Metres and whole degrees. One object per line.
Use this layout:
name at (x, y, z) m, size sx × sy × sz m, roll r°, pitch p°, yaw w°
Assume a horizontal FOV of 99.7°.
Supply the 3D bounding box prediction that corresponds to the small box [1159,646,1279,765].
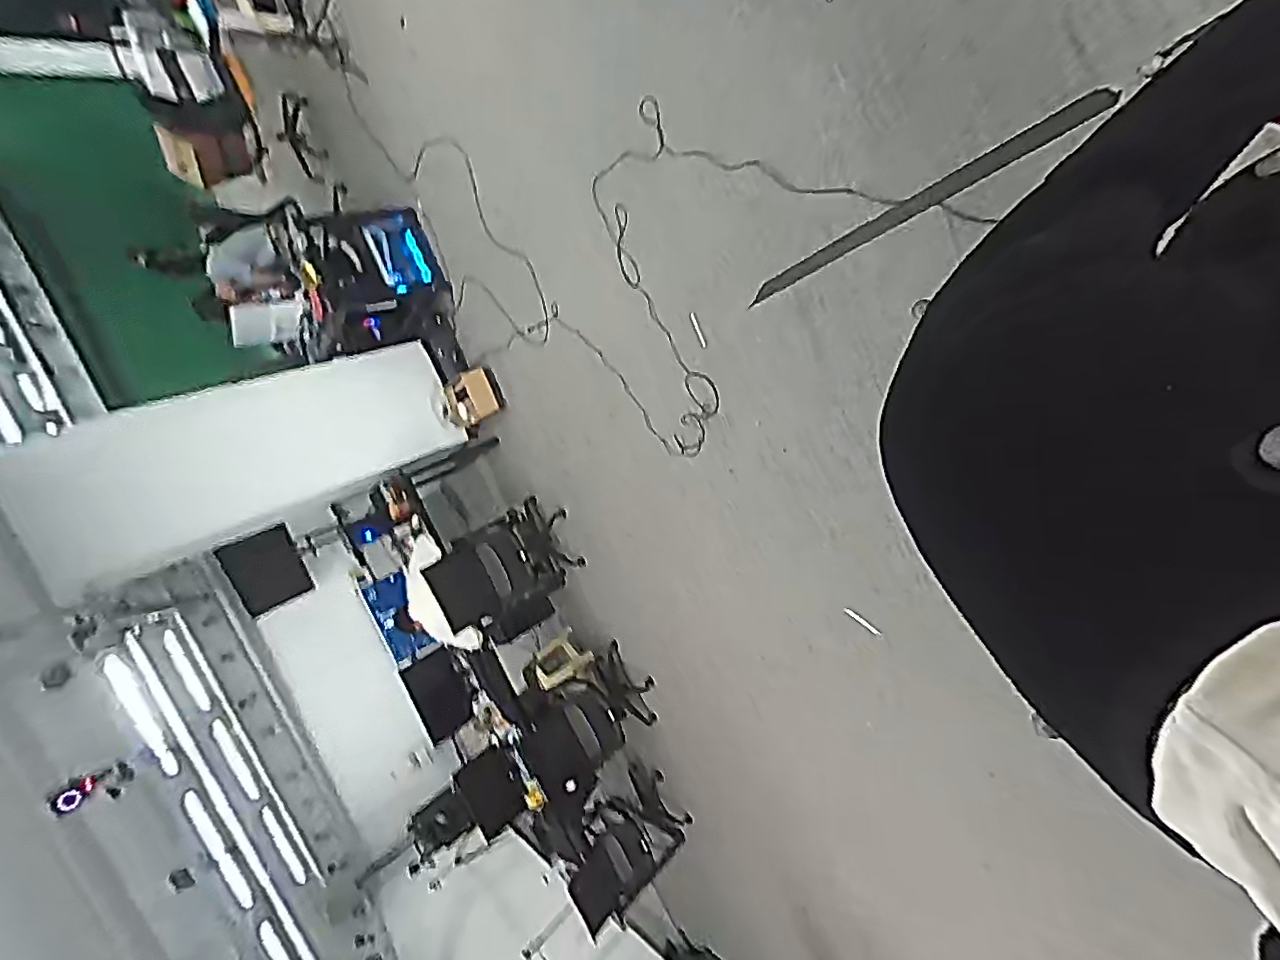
small box at (1.359, 0.517, 1.262) m, size 0.168 × 0.176 × 0.179 m, roll -15°, pitch 98°, yaw 54°
